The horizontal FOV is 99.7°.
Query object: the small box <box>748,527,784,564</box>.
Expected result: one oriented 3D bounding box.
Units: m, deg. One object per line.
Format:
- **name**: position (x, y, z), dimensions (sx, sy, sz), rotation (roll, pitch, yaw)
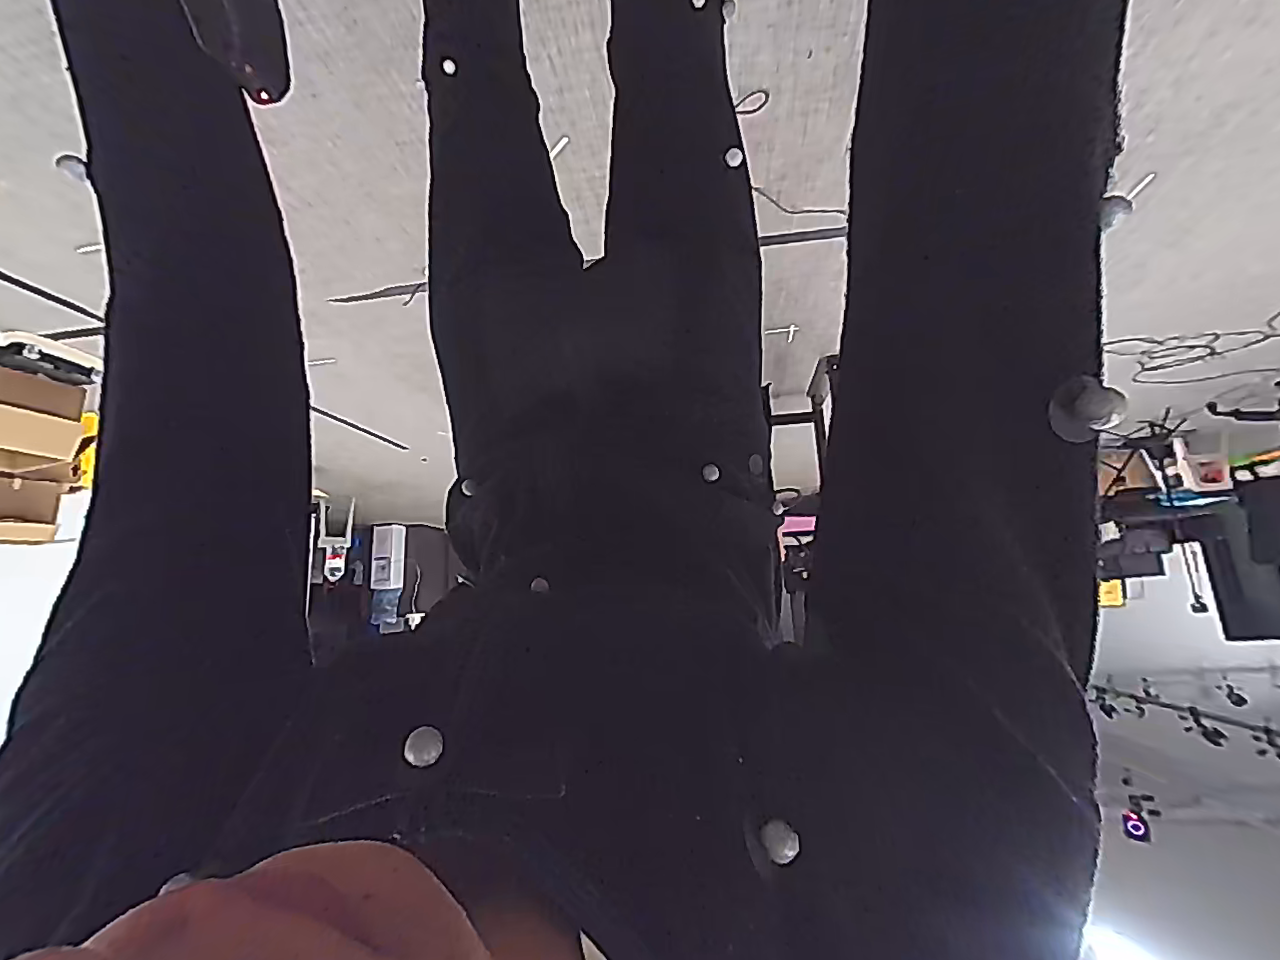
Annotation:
- **small box**: position (0.634, 0.331, 2.724), dimensions (0.168, 0.176, 0.179), rotation (-5, 166, 11)
